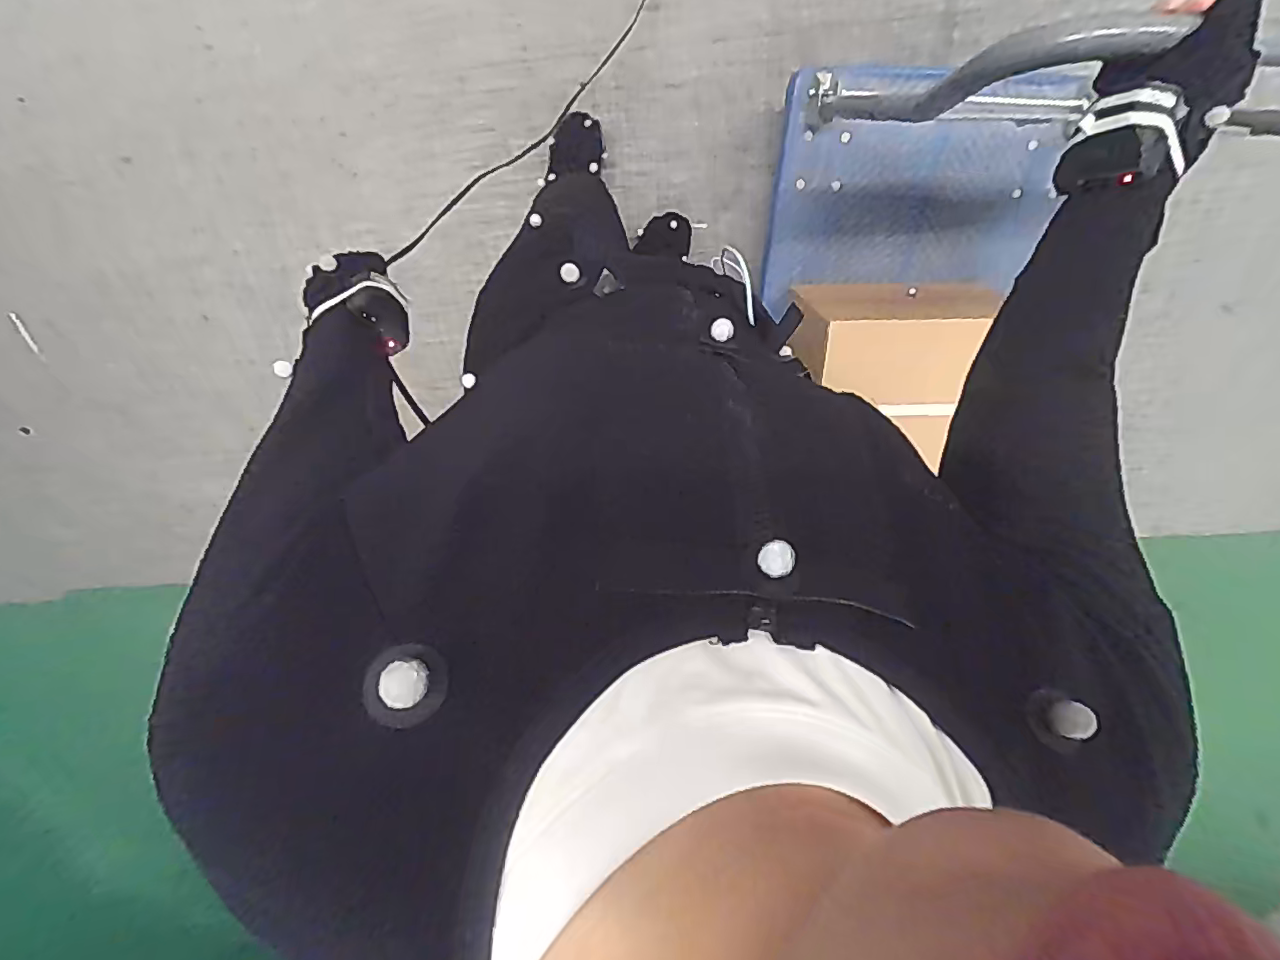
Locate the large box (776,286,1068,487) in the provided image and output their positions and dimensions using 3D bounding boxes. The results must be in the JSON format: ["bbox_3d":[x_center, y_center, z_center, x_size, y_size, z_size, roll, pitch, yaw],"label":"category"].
[{"bbox_3d":[0.512,-0.200,1.092,0.408,0.320,0.320,-2,121,1],"label":"large box"}]
